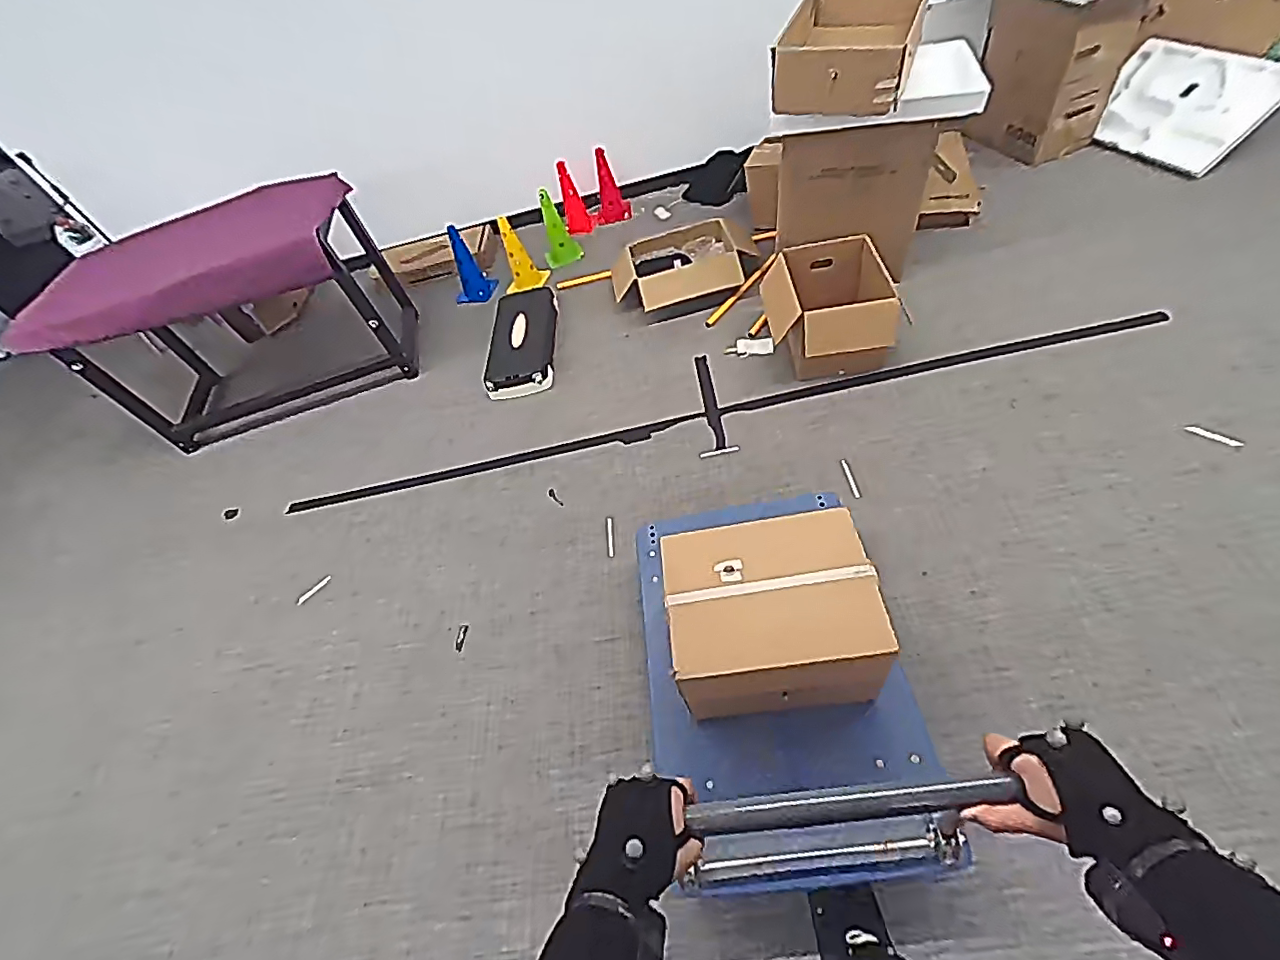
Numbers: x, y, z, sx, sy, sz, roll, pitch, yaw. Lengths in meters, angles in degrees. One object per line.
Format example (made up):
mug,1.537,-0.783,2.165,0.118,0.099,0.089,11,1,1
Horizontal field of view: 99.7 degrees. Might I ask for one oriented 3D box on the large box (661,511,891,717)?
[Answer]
large box,0.283,0.310,1.205,0.408,0.320,0.320,-11,51,7
